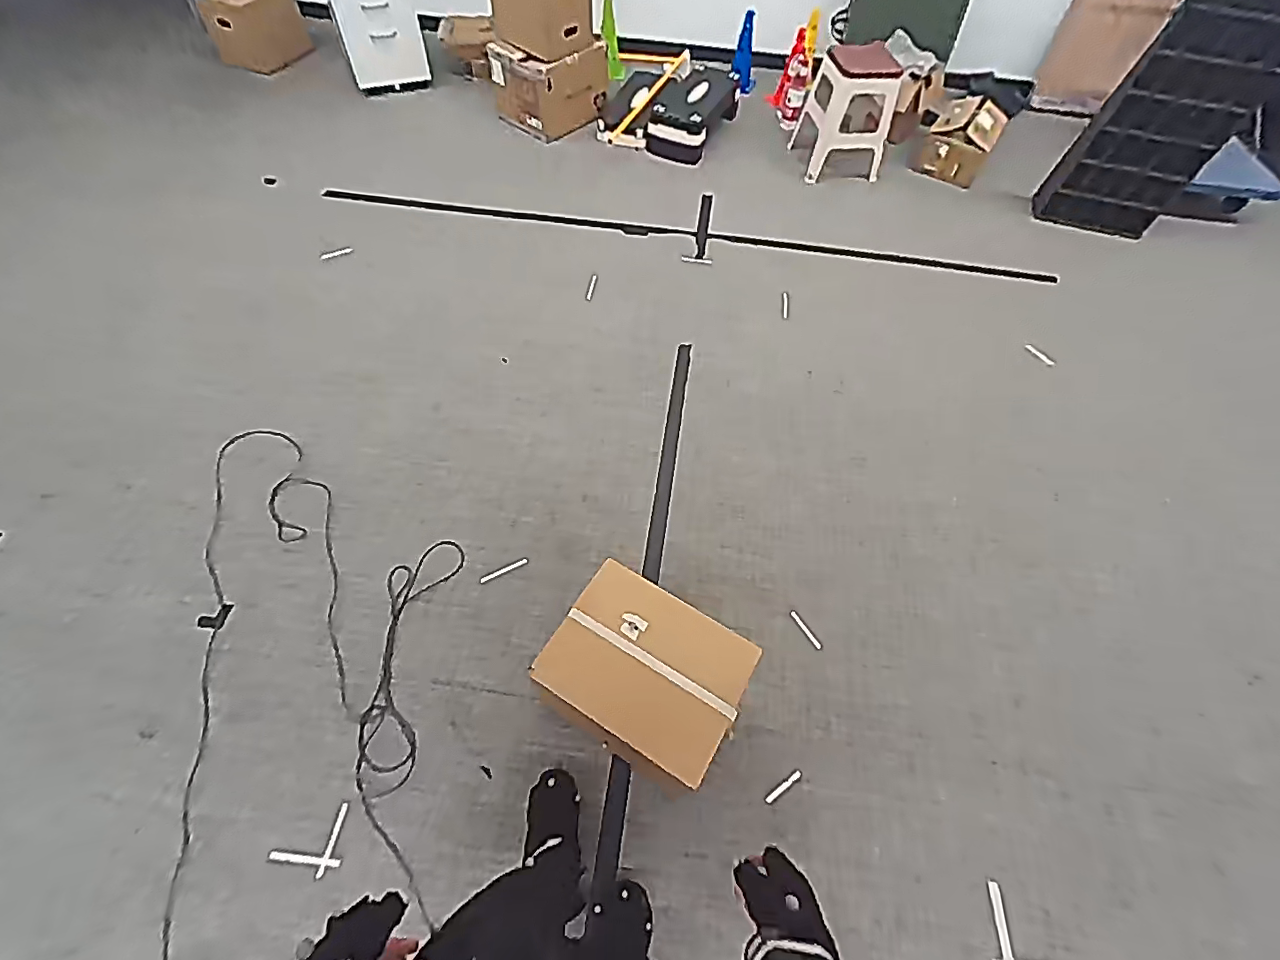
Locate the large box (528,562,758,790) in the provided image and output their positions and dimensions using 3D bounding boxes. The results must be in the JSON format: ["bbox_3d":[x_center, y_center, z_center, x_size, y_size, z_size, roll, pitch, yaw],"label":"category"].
[{"bbox_3d":[0.008,0.466,1.272,0.408,0.320,0.320,28,60,15],"label":"large box"}]
